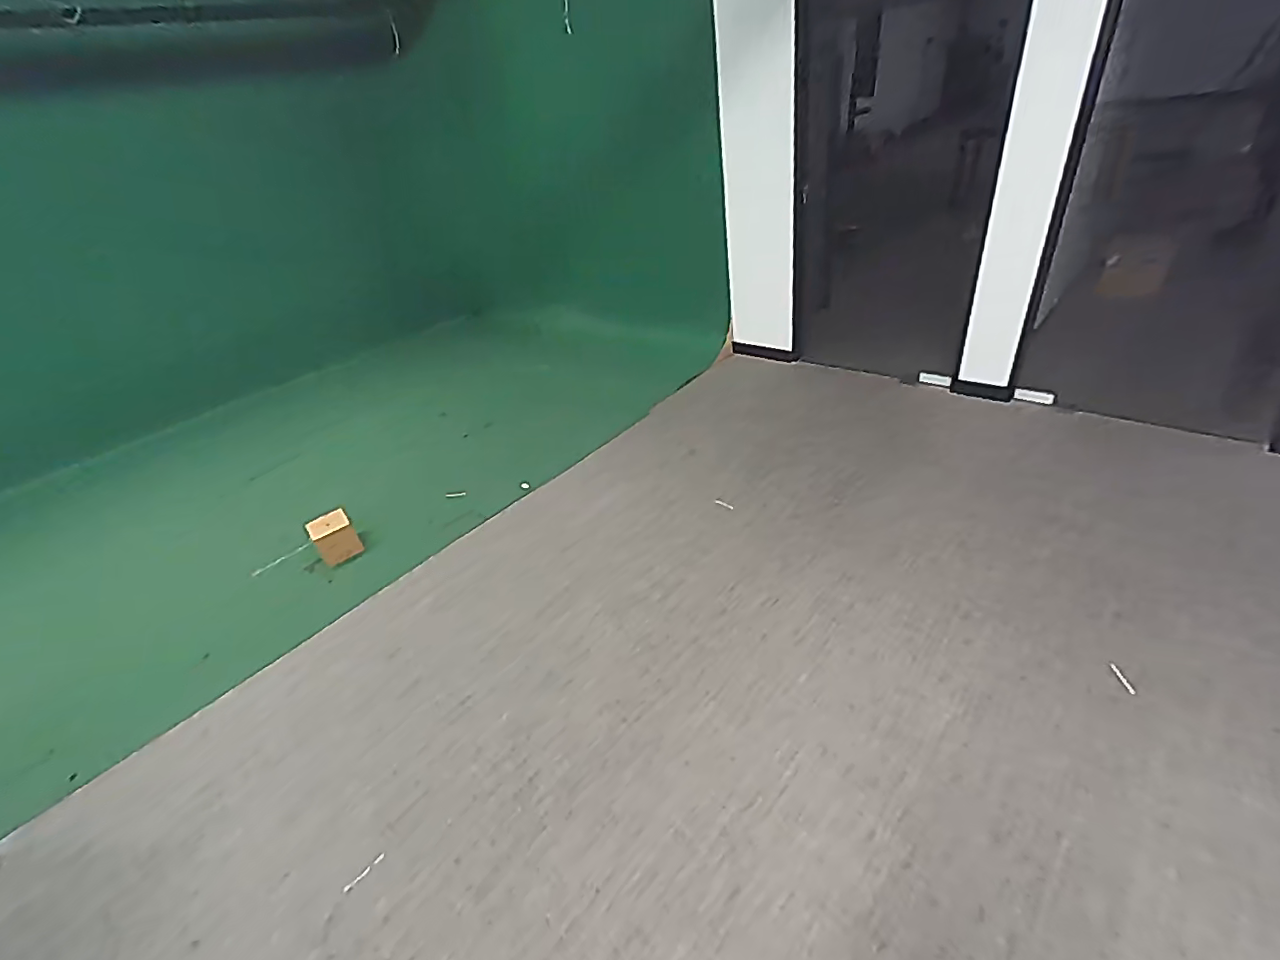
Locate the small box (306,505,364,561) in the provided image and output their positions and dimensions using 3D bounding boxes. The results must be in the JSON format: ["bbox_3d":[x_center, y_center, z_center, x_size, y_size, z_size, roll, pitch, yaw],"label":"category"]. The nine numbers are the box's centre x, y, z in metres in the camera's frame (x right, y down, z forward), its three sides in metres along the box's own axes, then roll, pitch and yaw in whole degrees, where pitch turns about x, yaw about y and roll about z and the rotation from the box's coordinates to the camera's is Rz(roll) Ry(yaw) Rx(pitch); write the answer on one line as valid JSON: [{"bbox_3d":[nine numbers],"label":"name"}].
[{"bbox_3d":[-1.421,0.254,2.527,0.168,0.176,0.179,-30,40,-27],"label":"small box"}]
